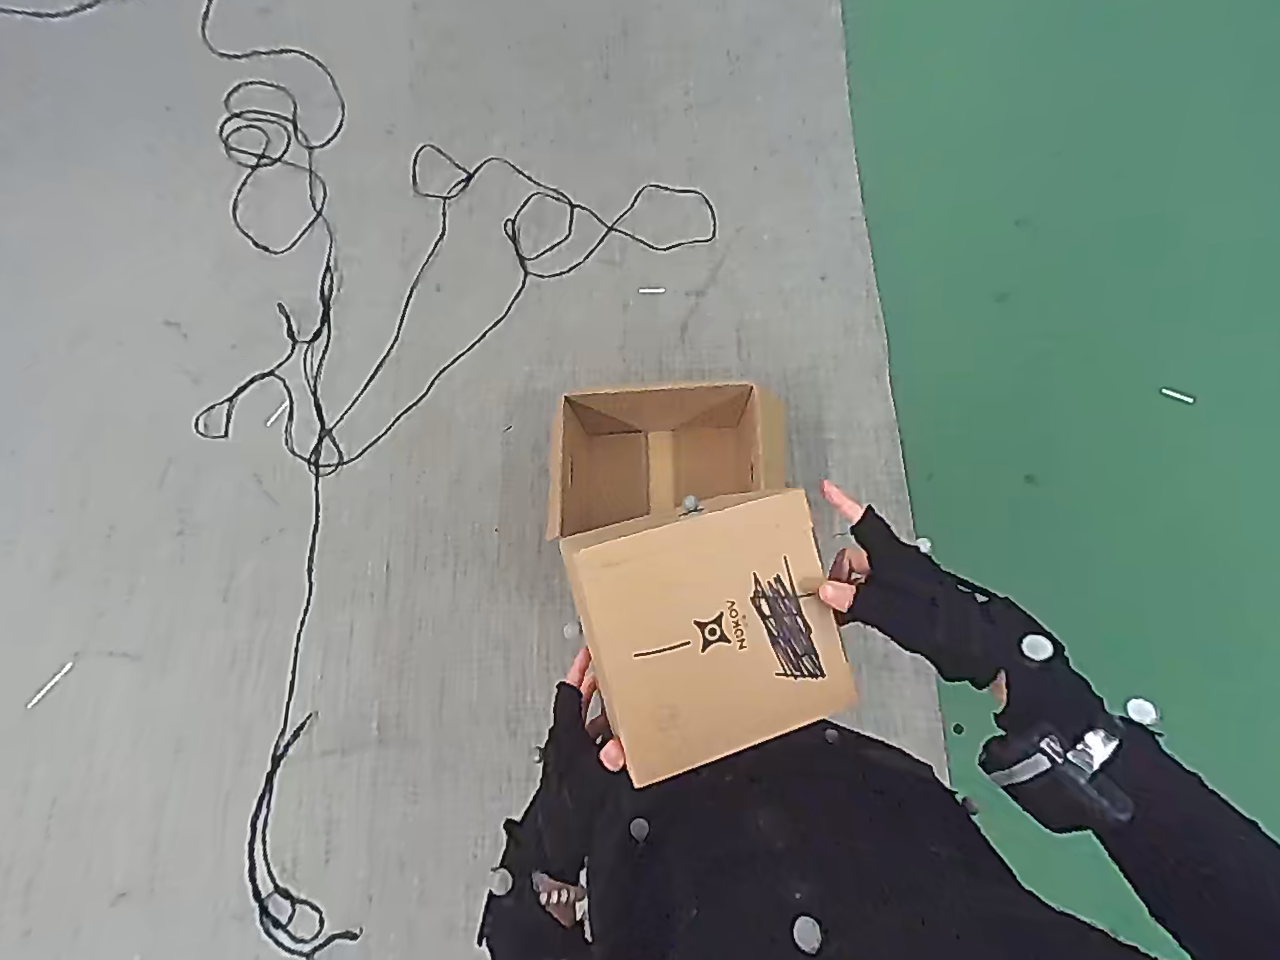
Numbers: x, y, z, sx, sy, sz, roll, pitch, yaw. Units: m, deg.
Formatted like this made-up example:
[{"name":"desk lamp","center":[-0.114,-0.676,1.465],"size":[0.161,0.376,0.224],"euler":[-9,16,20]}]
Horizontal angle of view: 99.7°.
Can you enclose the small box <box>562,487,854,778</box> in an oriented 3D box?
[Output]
[{"name":"small box","center":[0.040,0.103,0.450],"size":[0.179,0.176,0.168],"euler":[-13,90,-12]}]
